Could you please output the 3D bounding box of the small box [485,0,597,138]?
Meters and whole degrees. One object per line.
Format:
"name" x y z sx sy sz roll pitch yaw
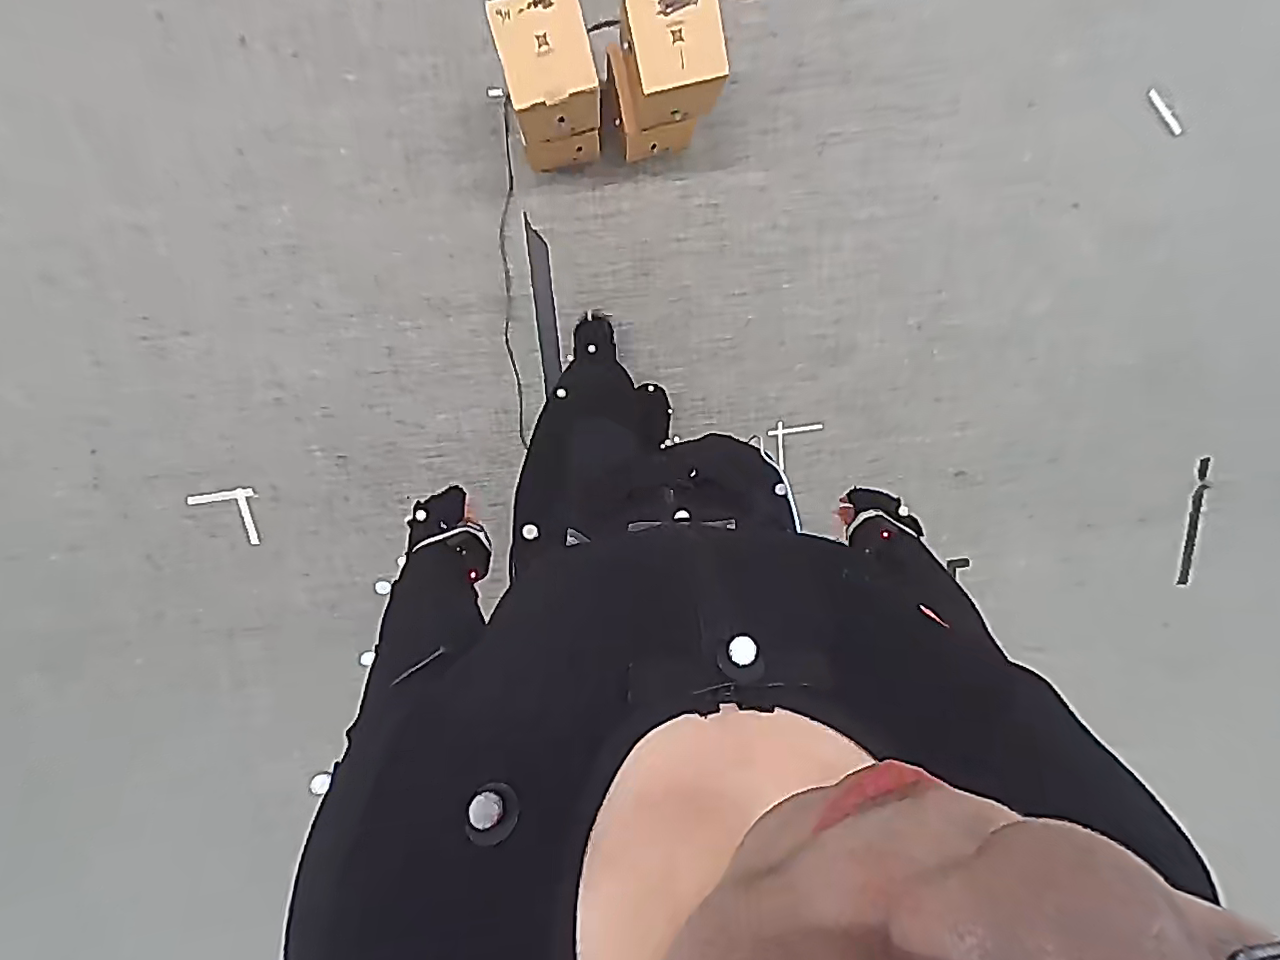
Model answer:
"small box" -0.181 -0.793 1.047 0.168 0.176 0.179 -15 104 -1

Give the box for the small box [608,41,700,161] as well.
"small box" 0.025 -0.855 1.214 0.168 0.176 0.179 -14 104 0

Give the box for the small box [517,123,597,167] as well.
"small box" -0.190 -0.825 1.209 0.168 0.176 0.179 -11 103 -2

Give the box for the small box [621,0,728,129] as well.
"small box" 0.060 -0.827 1.054 0.168 0.176 0.179 -13 105 0
